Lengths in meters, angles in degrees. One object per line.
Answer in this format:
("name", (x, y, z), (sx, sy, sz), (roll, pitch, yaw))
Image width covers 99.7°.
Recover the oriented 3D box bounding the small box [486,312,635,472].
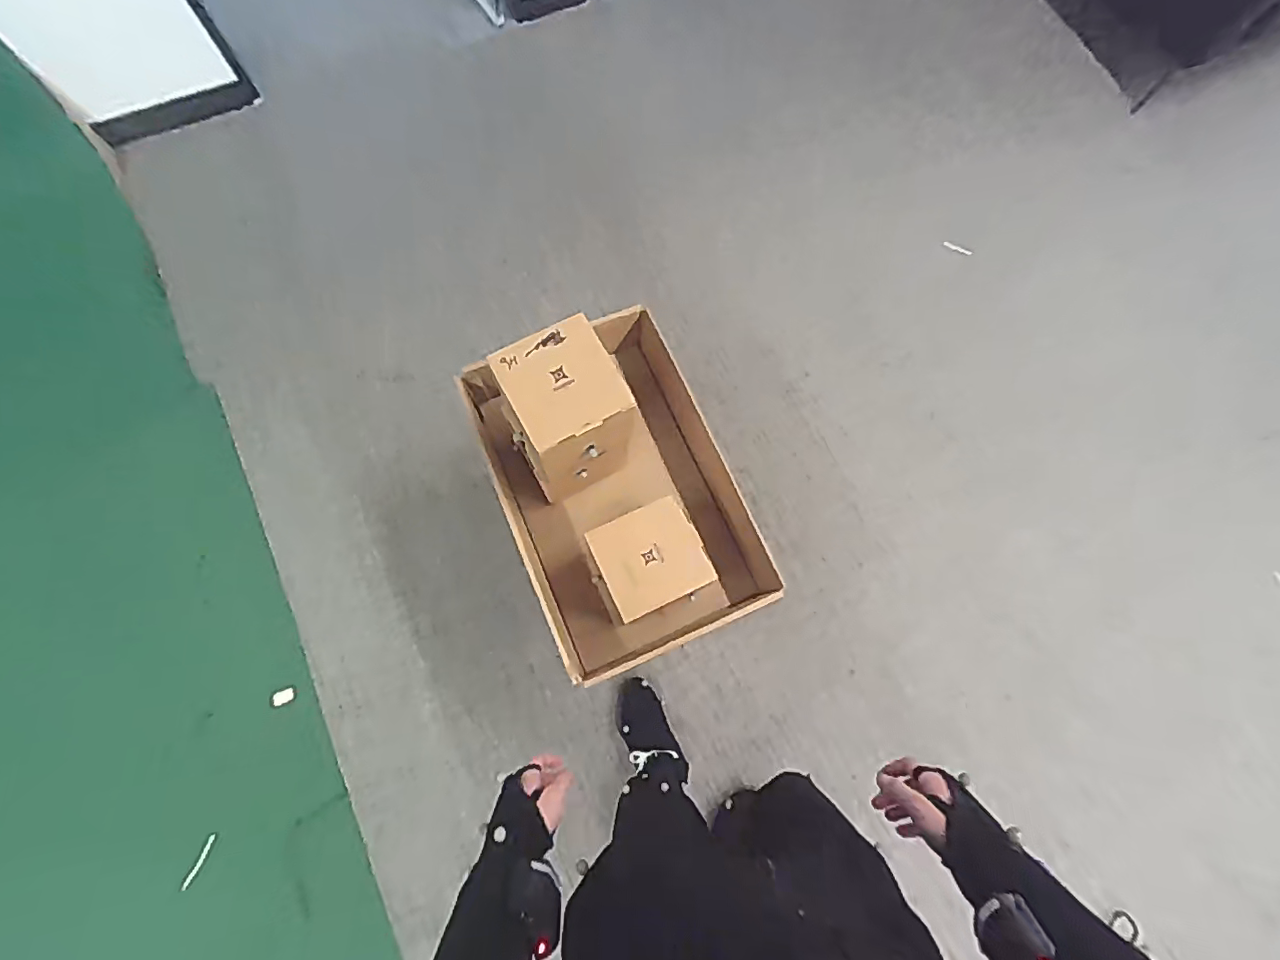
("small box", (-0.120, -0.127, 0.869), (0.168, 0.176, 0.179), (-28, 79, -10))
